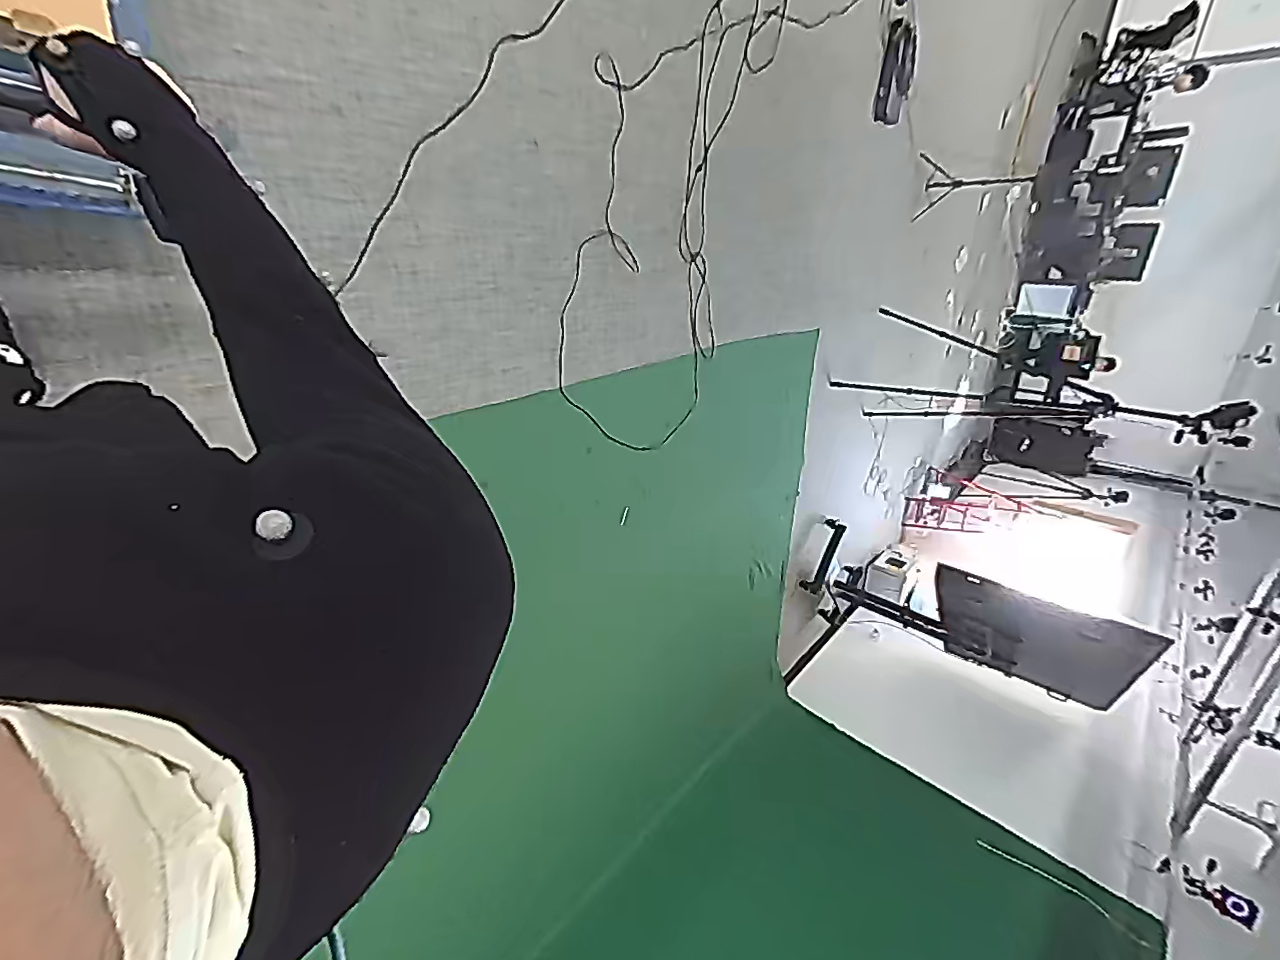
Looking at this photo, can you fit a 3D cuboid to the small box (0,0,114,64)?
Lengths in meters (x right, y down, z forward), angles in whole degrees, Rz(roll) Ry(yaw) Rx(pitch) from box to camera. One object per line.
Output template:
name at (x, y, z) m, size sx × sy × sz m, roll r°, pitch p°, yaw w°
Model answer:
small box at (-0.897, -0.743, 0.778) m, size 0.168 × 0.176 × 0.179 m, roll -15°, pitch 117°, yaw -46°
